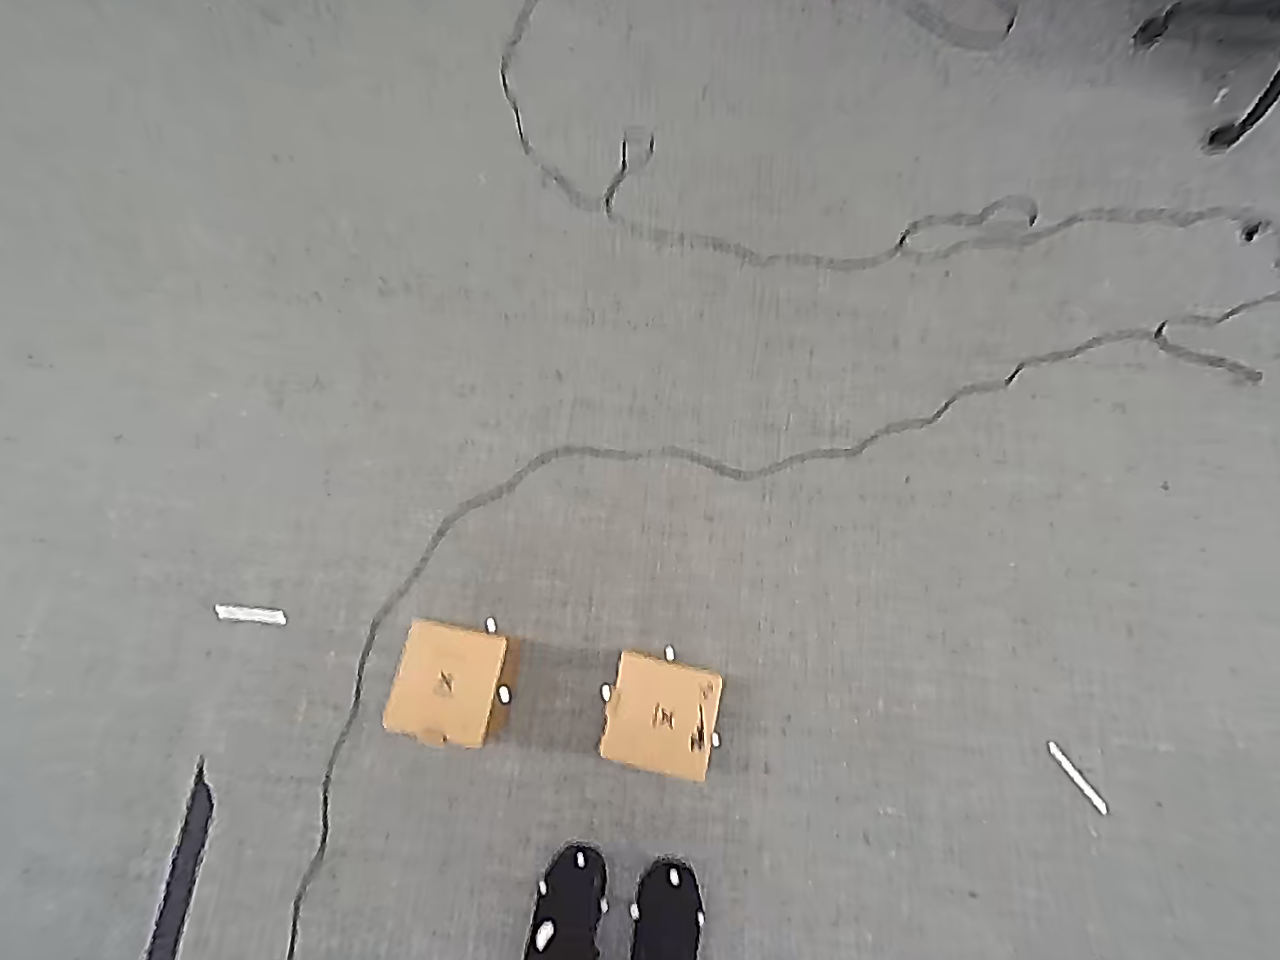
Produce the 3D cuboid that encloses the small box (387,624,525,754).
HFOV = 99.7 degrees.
[{"bbox_3d":[-0.315,0.363,0.969,0.168,0.176,0.179,12,75,2],"label":"small box"}]

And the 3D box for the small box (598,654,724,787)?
[{"bbox_3d":[0.036,0.411,0.956,0.179,0.176,0.168,14,76,4],"label":"small box"}]
